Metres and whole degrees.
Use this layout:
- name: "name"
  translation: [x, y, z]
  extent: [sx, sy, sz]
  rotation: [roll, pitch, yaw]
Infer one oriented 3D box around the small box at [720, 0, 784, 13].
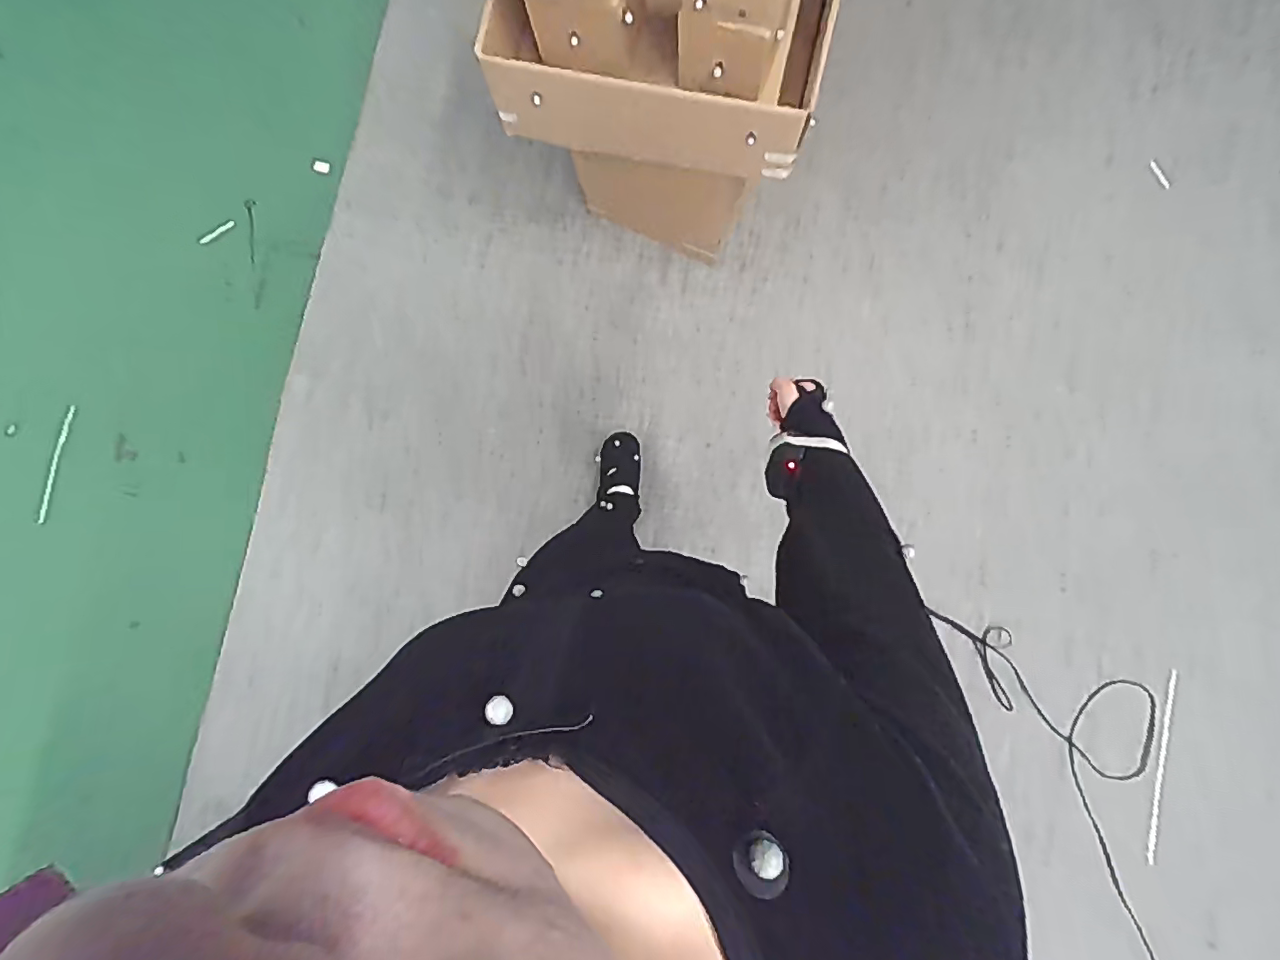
- name: "small box"
  translation: [0.171, -0.875, 0.826]
  extent: [0.168, 0.176, 0.179]
  rotation: [16, 87, 6]
